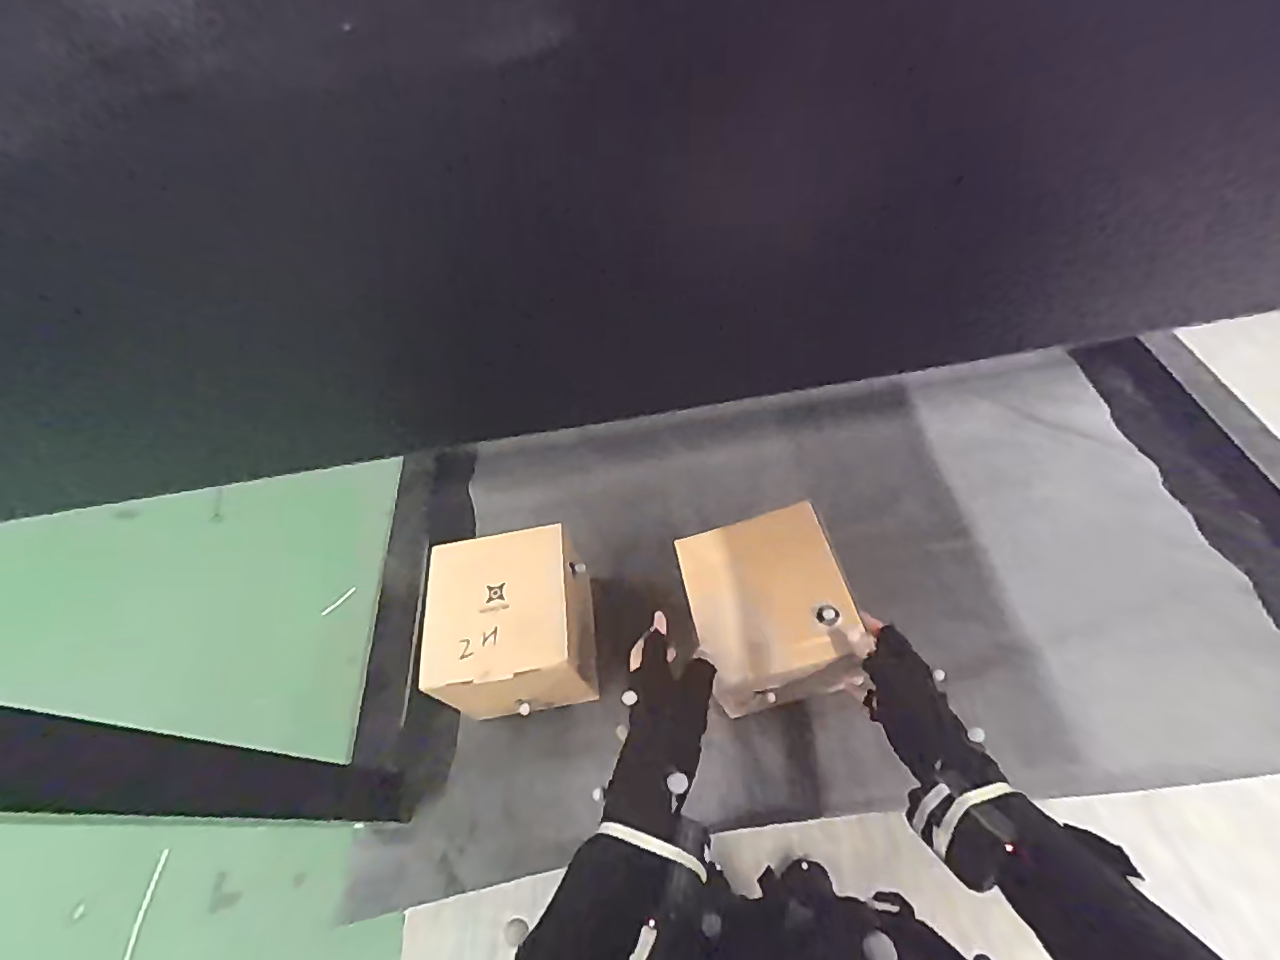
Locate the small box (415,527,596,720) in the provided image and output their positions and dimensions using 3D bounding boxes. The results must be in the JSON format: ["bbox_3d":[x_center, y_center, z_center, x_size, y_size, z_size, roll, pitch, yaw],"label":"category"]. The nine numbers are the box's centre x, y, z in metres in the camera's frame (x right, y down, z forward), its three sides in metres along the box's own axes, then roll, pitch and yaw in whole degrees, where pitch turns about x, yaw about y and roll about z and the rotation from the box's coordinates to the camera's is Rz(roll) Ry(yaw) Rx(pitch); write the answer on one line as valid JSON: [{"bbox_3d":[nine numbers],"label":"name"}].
[{"bbox_3d":[-0.156,0.184,0.681,0.168,0.176,0.179,-10,55,3],"label":"small box"}]
